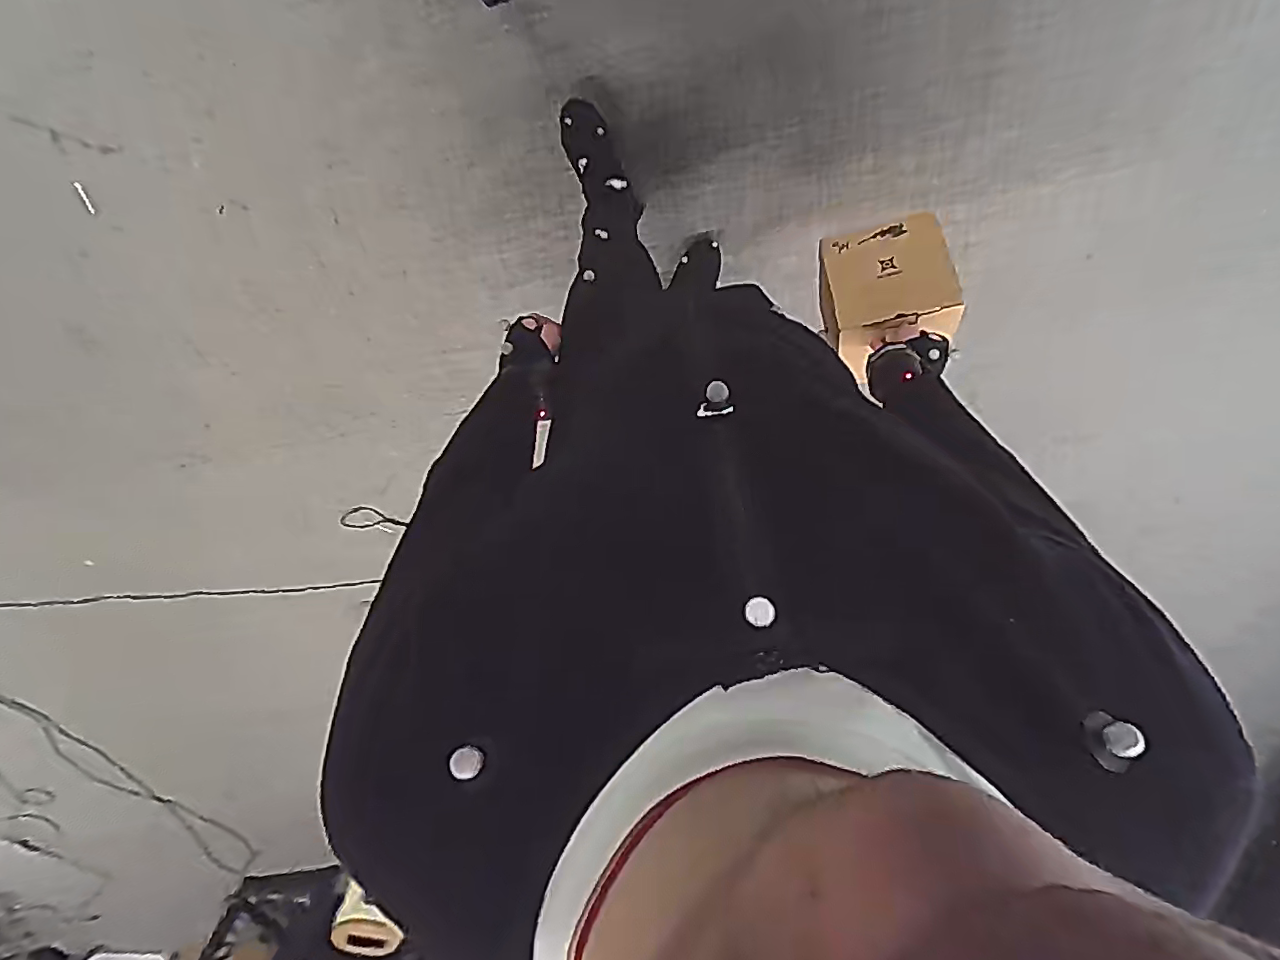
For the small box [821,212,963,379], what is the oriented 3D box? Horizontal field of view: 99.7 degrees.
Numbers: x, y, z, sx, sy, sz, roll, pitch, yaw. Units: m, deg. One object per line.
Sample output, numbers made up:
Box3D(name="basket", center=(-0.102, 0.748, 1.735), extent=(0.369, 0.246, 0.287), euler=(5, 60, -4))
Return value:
Box3D(name="small box", center=(0.382, -0.275, 0.852), extent=(0.168, 0.179, 0.176), euler=(-7, 158, 14))
